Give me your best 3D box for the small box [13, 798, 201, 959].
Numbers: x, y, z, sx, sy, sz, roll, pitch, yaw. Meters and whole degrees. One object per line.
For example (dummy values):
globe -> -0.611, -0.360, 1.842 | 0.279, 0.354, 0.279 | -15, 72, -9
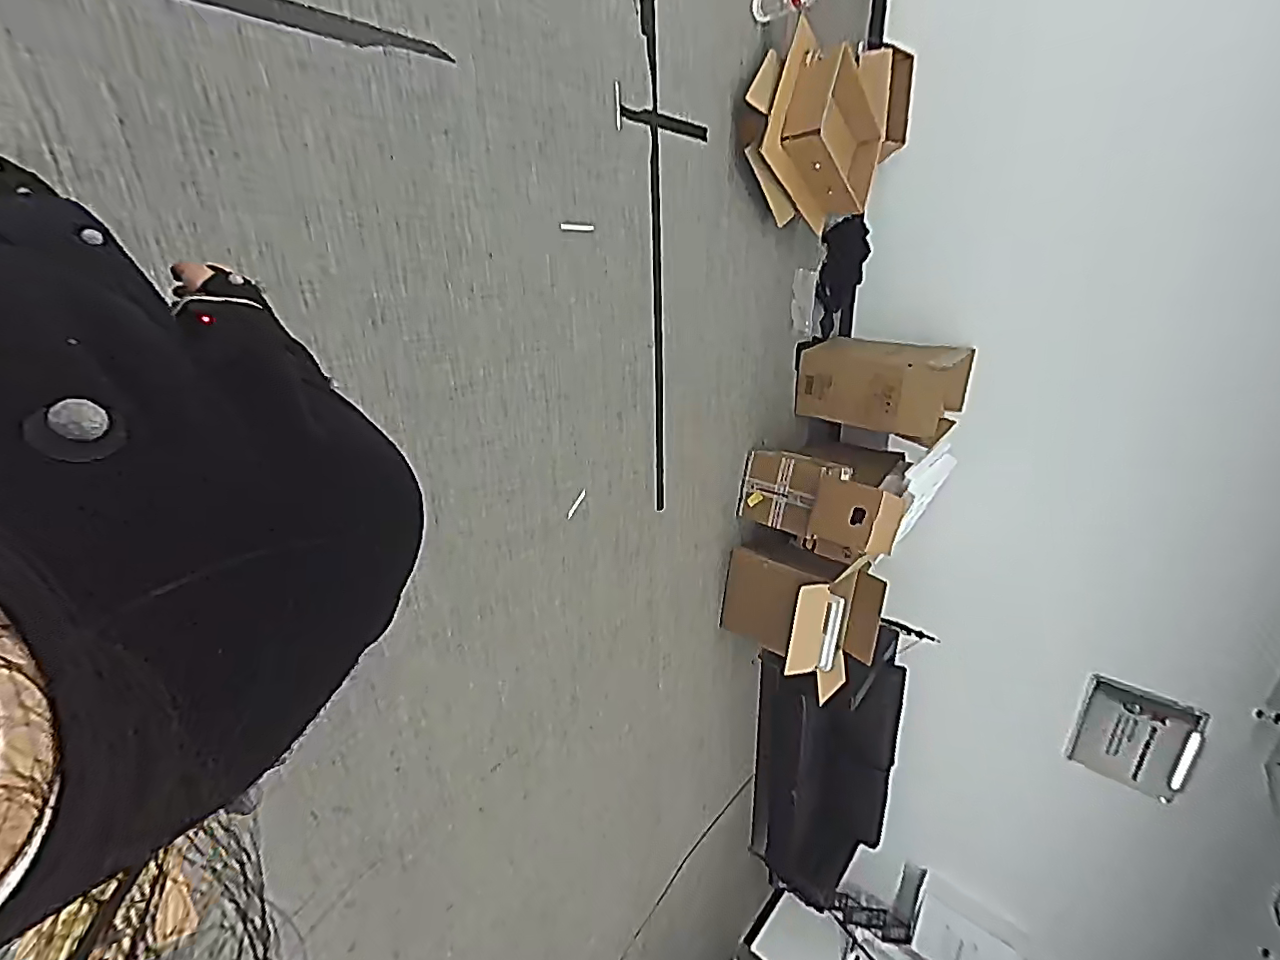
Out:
small box -> -0.798, 0.621, 0.813 | 0.168, 0.176, 0.179 | -17, 115, -46
